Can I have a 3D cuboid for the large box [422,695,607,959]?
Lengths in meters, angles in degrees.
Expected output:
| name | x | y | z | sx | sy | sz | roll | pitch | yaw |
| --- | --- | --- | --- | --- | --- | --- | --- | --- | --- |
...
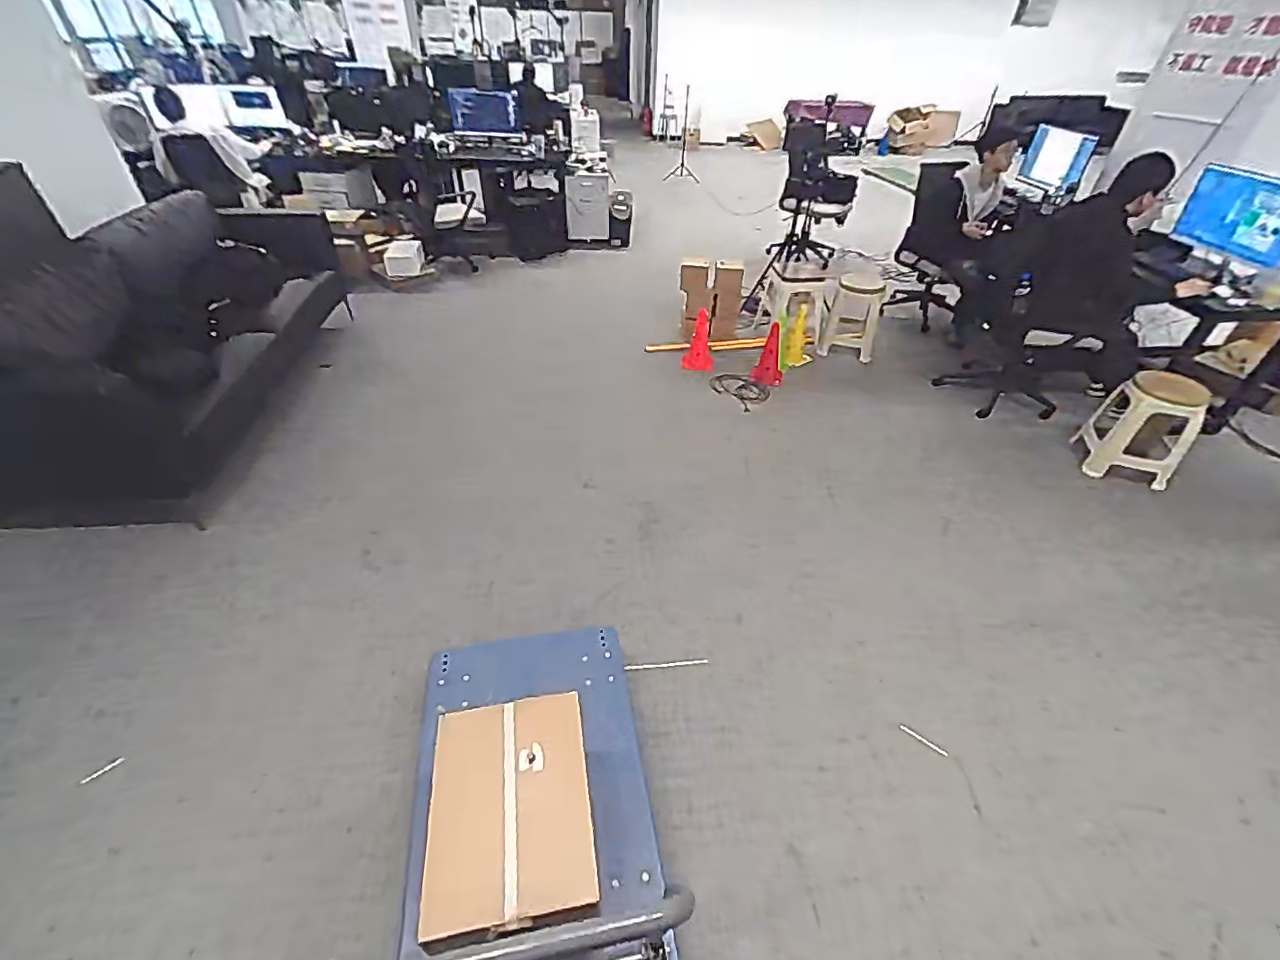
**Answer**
| name | x | y | z | sx | sy | sz | roll | pitch | yaw |
| --- | --- | --- | --- | --- | --- | --- | --- | --- | --- |
| large box | -0.258 | 0.755 | 1.173 | 0.320 | 0.320 | 0.408 | -6 | 39 | -10 |
